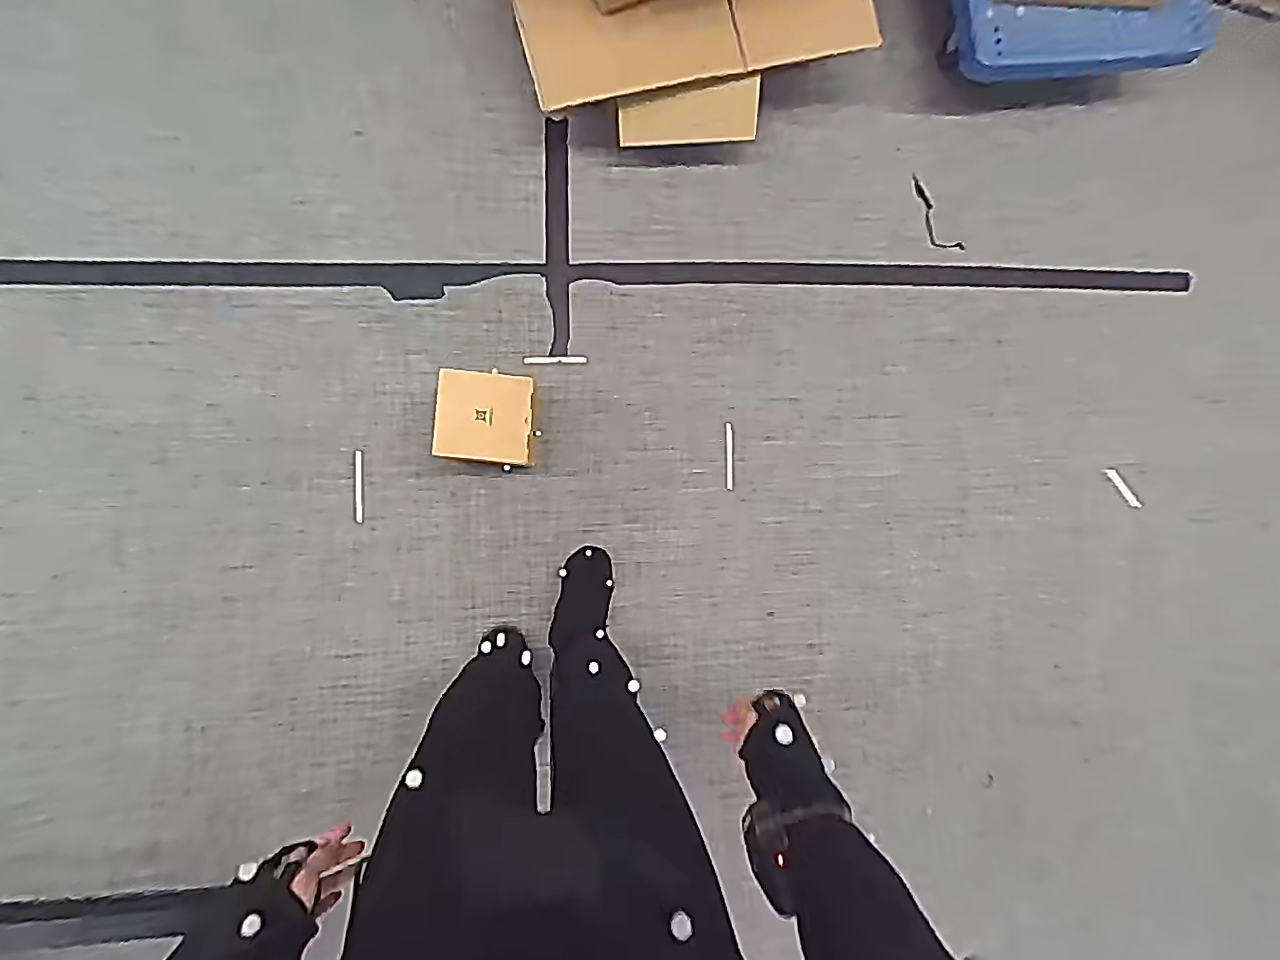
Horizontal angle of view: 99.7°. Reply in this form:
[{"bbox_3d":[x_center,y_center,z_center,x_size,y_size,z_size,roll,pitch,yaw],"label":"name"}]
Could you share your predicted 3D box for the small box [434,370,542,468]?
[{"bbox_3d":[-0.295,-0.113,1.080,0.179,0.176,0.168,4,89,-7],"label":"small box"}]
